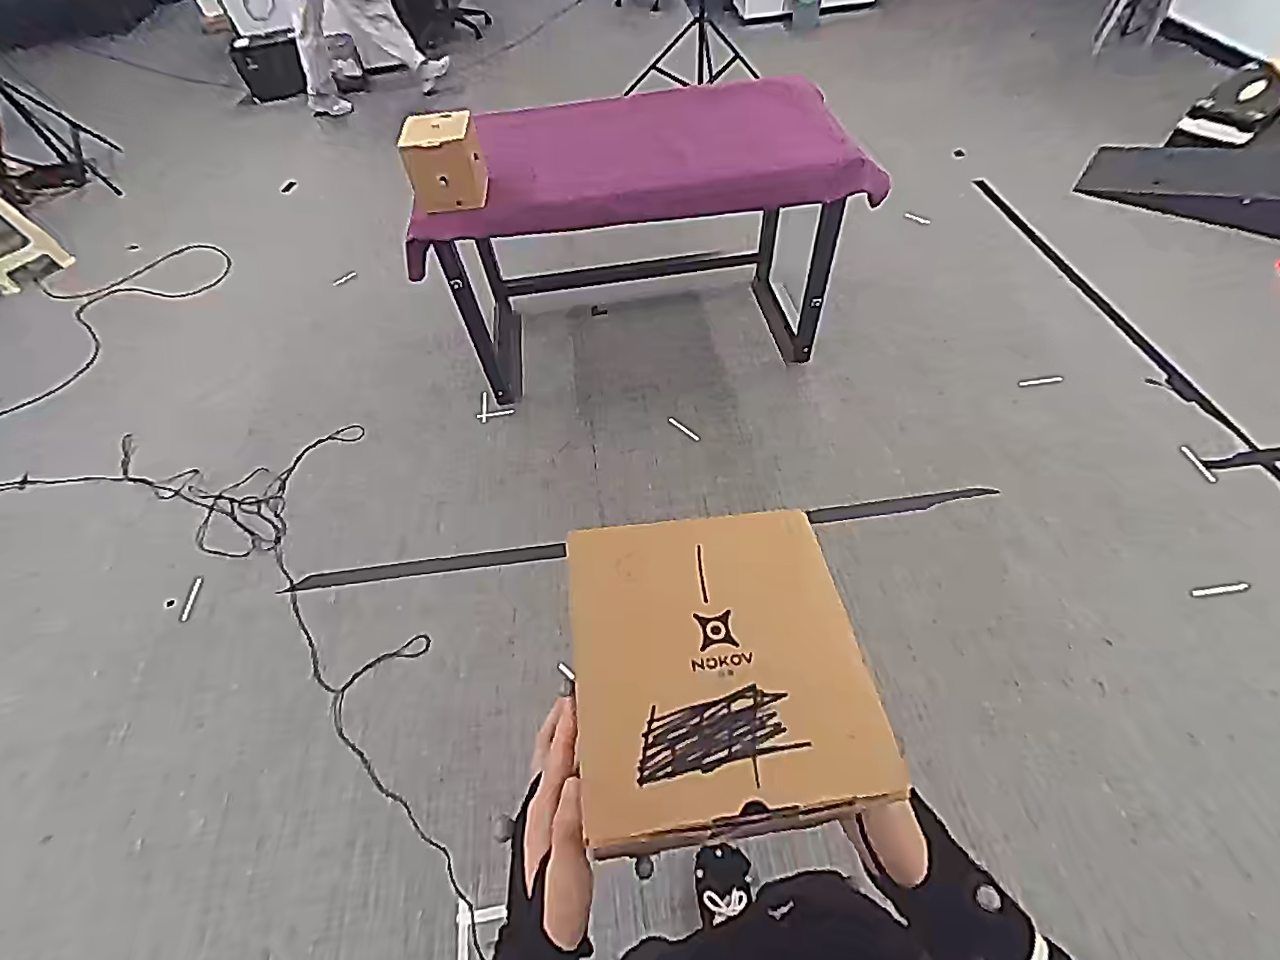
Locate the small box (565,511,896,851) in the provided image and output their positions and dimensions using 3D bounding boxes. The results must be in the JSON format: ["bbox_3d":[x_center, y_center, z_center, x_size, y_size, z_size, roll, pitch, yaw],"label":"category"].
[{"bbox_3d":[0.040,0.146,0.381,0.168,0.176,0.179,-6,52,-6],"label":"small box"}]

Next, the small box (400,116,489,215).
[{"bbox_3d":[-0.502,-0.816,1.415,0.168,0.176,0.179,-7,55,0],"label":"small box"}]
